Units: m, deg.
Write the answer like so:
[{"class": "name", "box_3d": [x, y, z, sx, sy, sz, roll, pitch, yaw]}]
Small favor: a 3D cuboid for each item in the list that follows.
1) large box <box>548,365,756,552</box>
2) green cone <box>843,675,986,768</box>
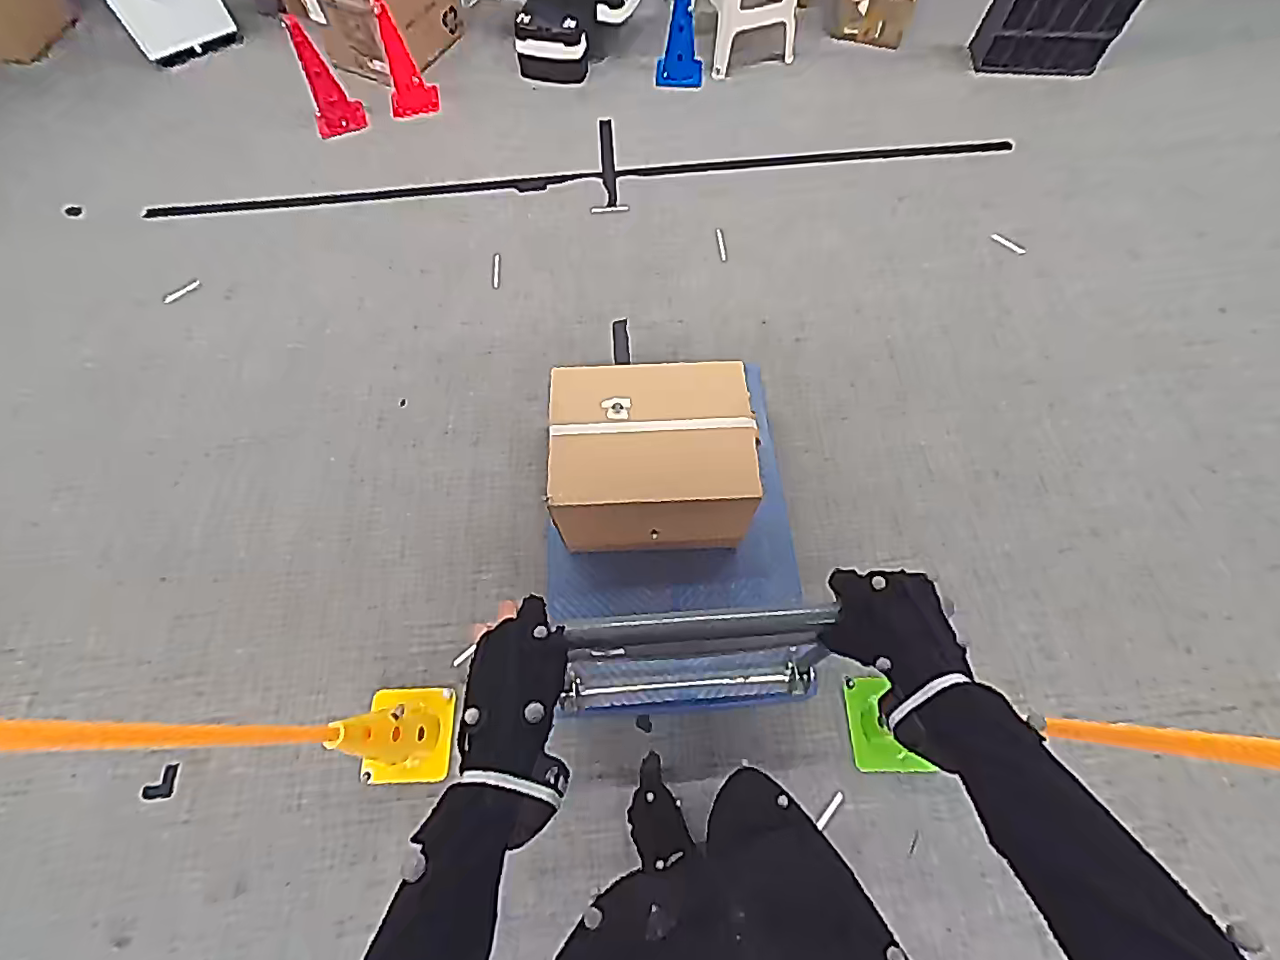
[{"class": "large box", "box_3d": [0.021, -0.033, 1.219, 0.408, 0.320, 0.320, -3, 66, 0]}, {"class": "green cone", "box_3d": [0.591, 0.495, 1.122, 0.202, 0.368, 0.200, -1, 65, -1]}]
